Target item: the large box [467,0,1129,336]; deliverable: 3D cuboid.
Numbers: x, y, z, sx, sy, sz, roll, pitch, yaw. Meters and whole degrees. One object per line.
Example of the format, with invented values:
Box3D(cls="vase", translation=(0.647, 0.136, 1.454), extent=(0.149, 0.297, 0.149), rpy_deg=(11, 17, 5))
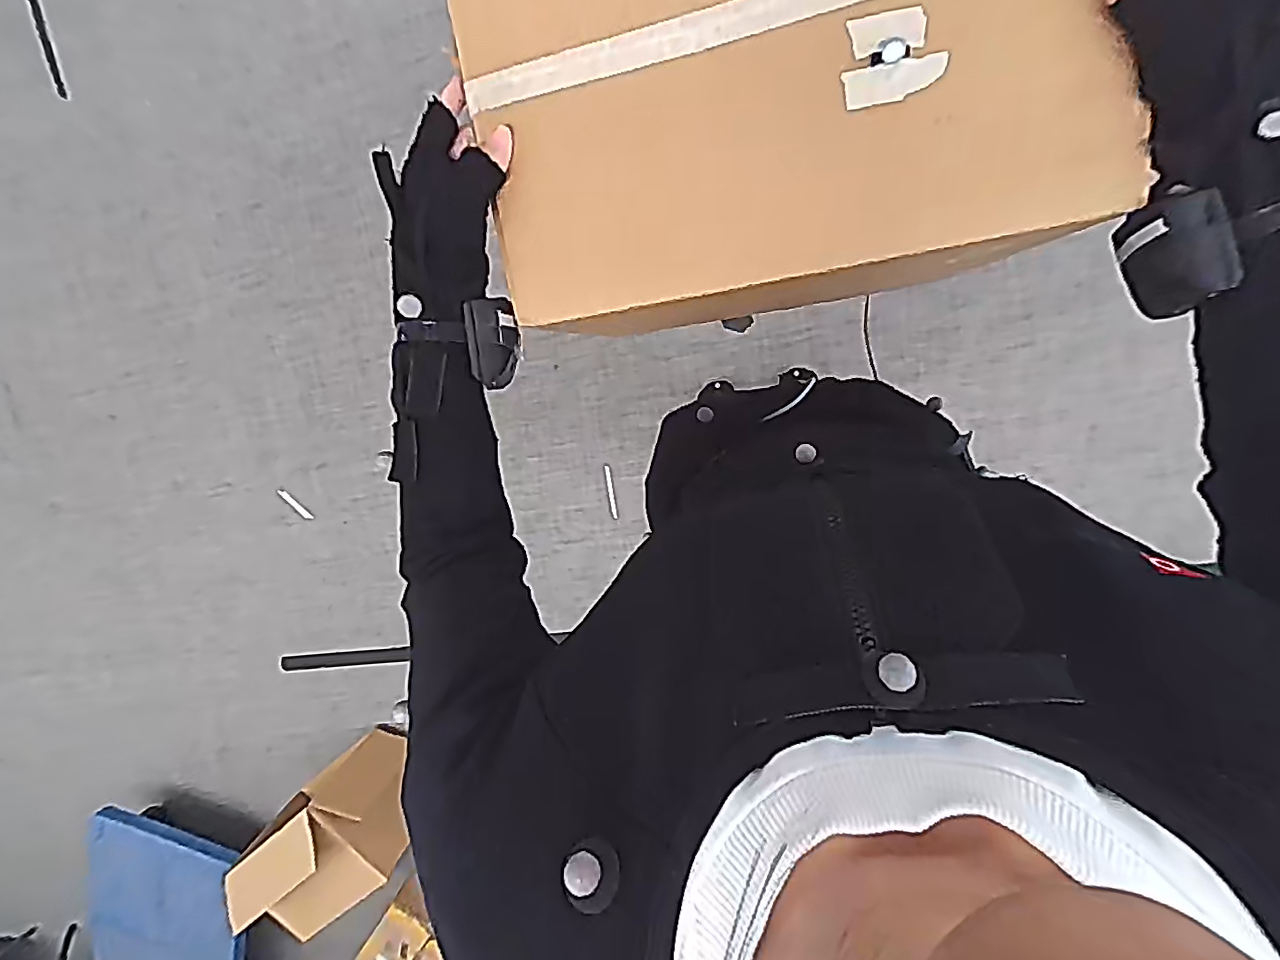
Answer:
Box3D(cls="large box", translation=(0.107, -0.328, 0.488), extent=(0.408, 0.320, 0.320), rpy_deg=(-8, 102, 11))
